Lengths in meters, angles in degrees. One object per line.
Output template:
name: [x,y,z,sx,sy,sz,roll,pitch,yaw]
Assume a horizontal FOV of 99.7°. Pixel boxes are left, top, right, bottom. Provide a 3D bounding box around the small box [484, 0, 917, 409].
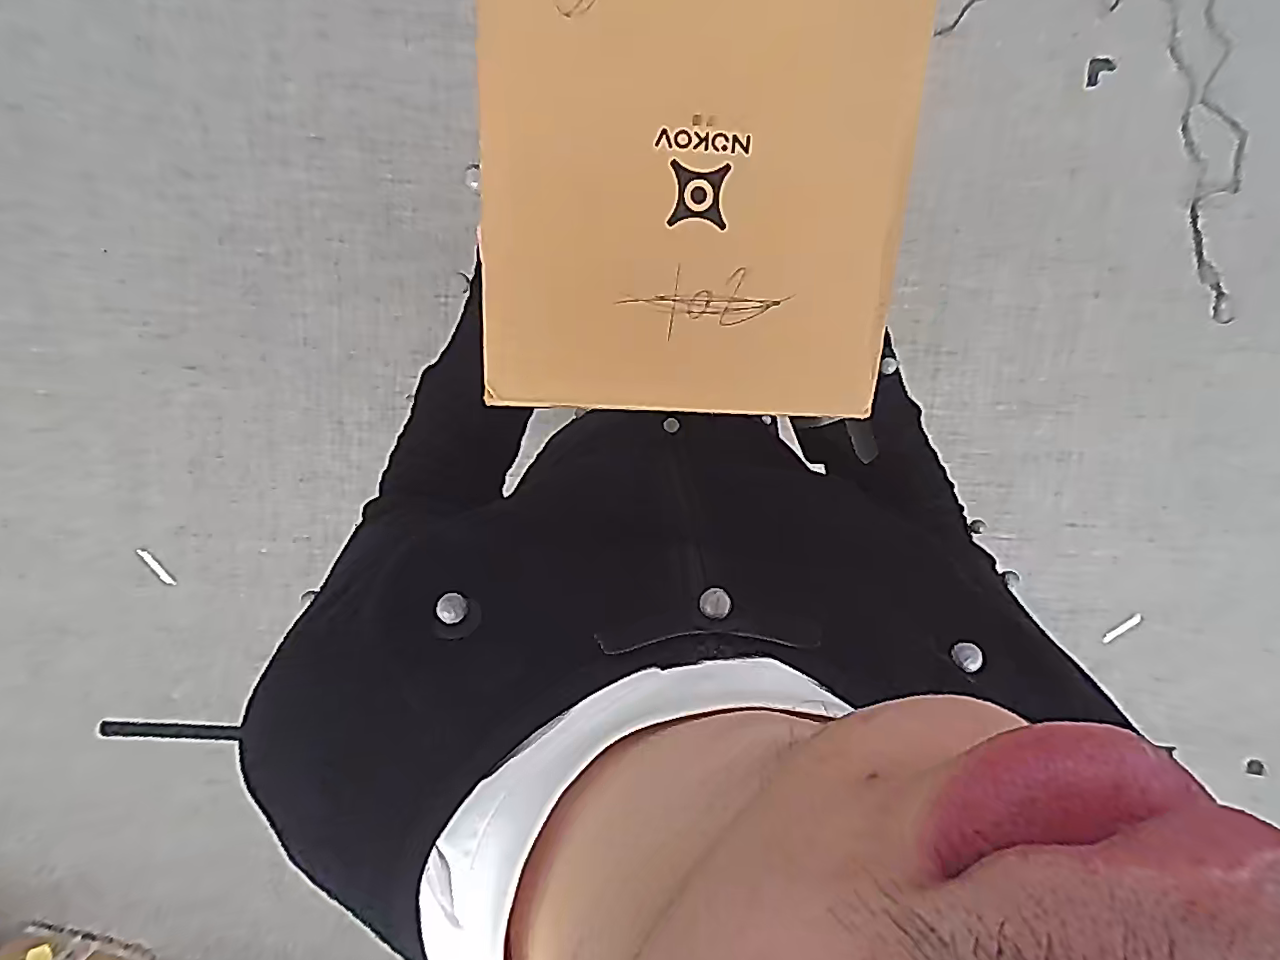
small box: [0.014,-0.140,0.295,0.168,0.176,0.179,3,105,-5]
